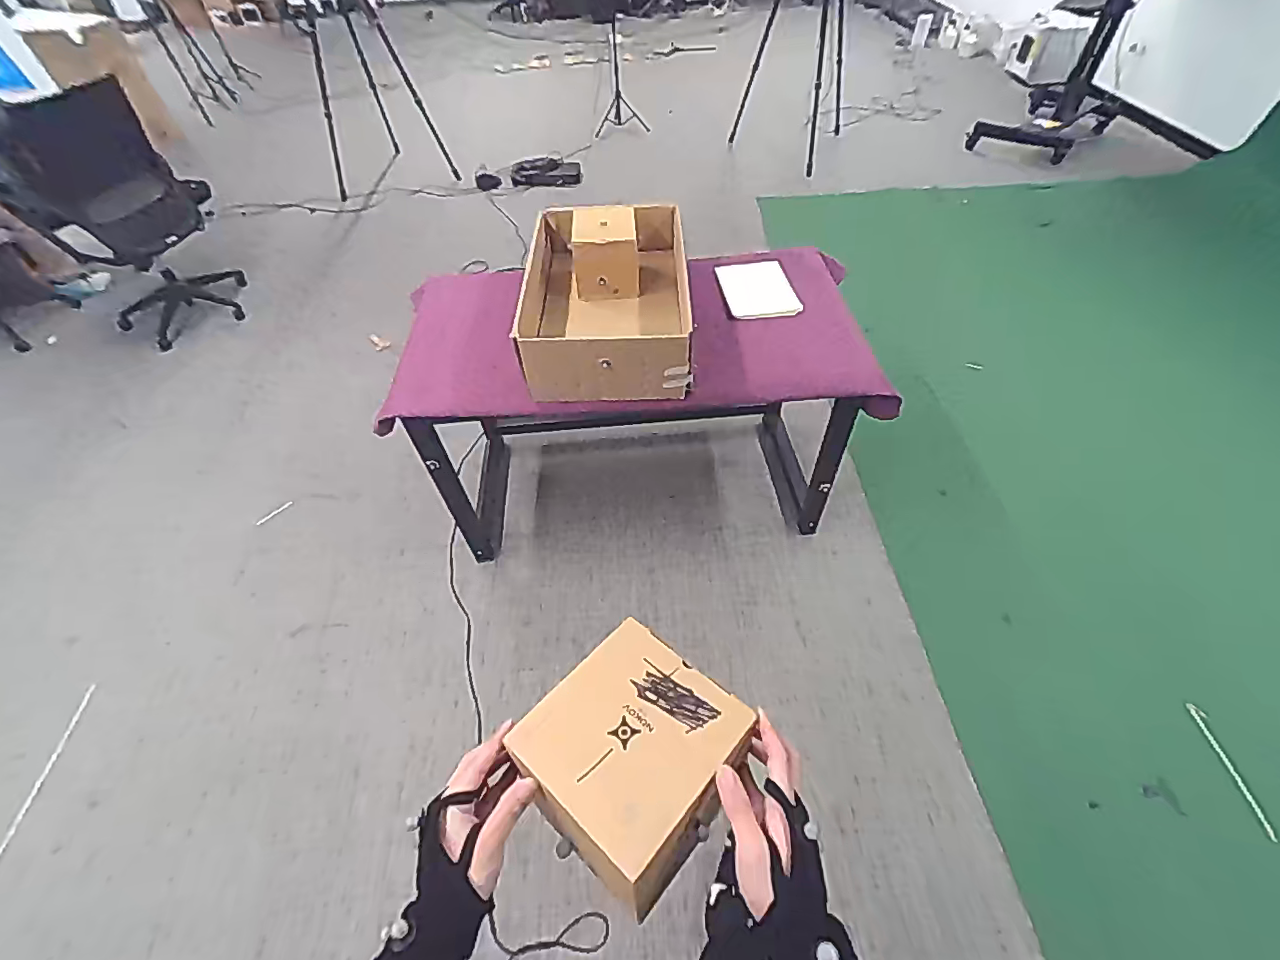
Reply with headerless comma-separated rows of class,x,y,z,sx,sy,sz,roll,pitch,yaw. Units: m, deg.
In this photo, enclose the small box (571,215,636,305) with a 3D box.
small box,-0.097,-0.600,1.478,0.168,0.176,0.179,-4,52,-1
